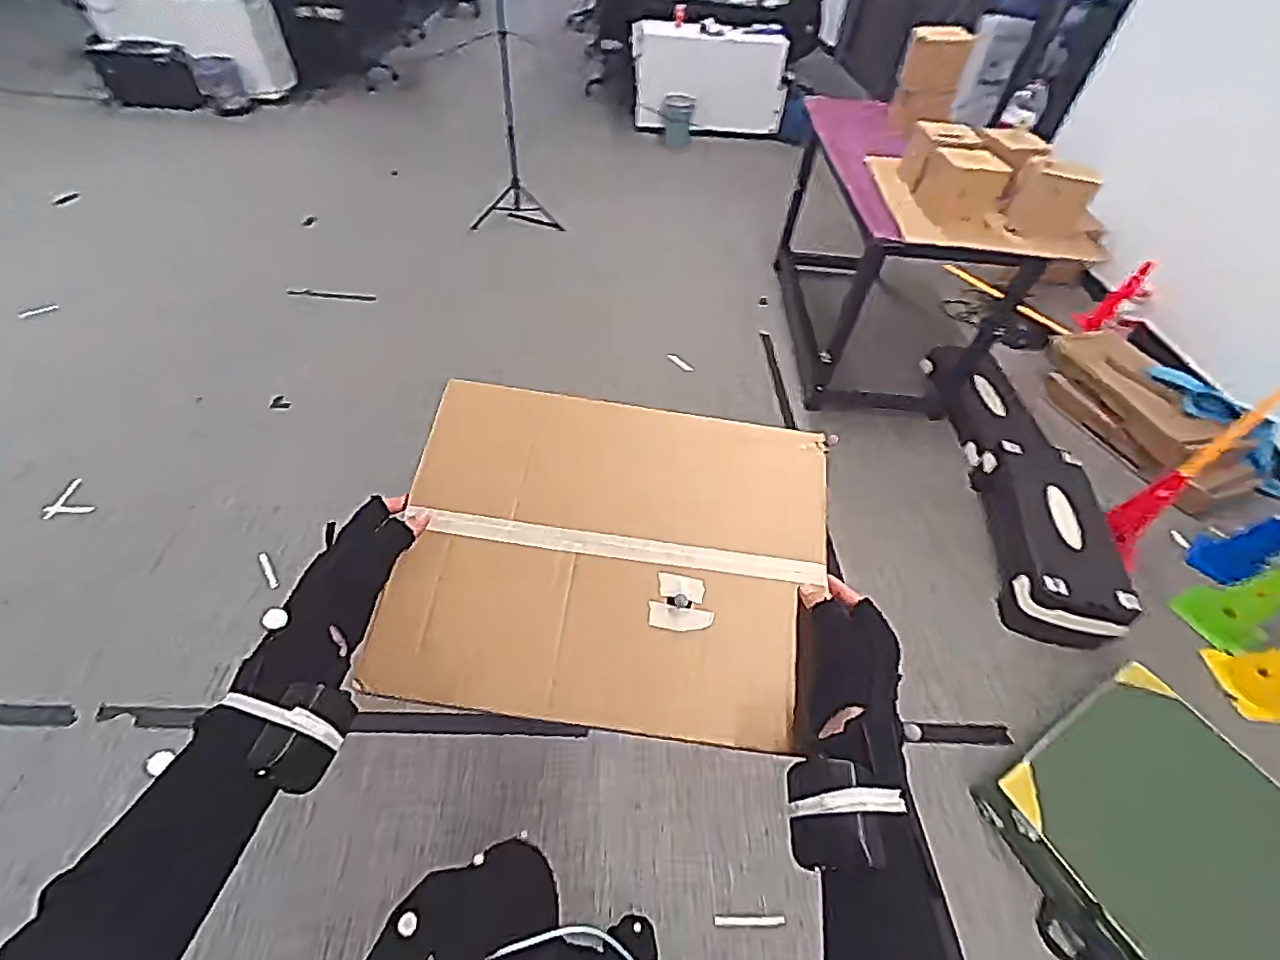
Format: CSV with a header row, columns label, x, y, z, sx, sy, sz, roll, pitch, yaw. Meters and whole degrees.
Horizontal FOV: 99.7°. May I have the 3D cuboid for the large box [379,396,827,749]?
label,x,y,z,sx,sy,sz,roll,pitch,yaw
large box,-0.027,0.131,0.665,0.408,0.320,0.320,9,67,-1
